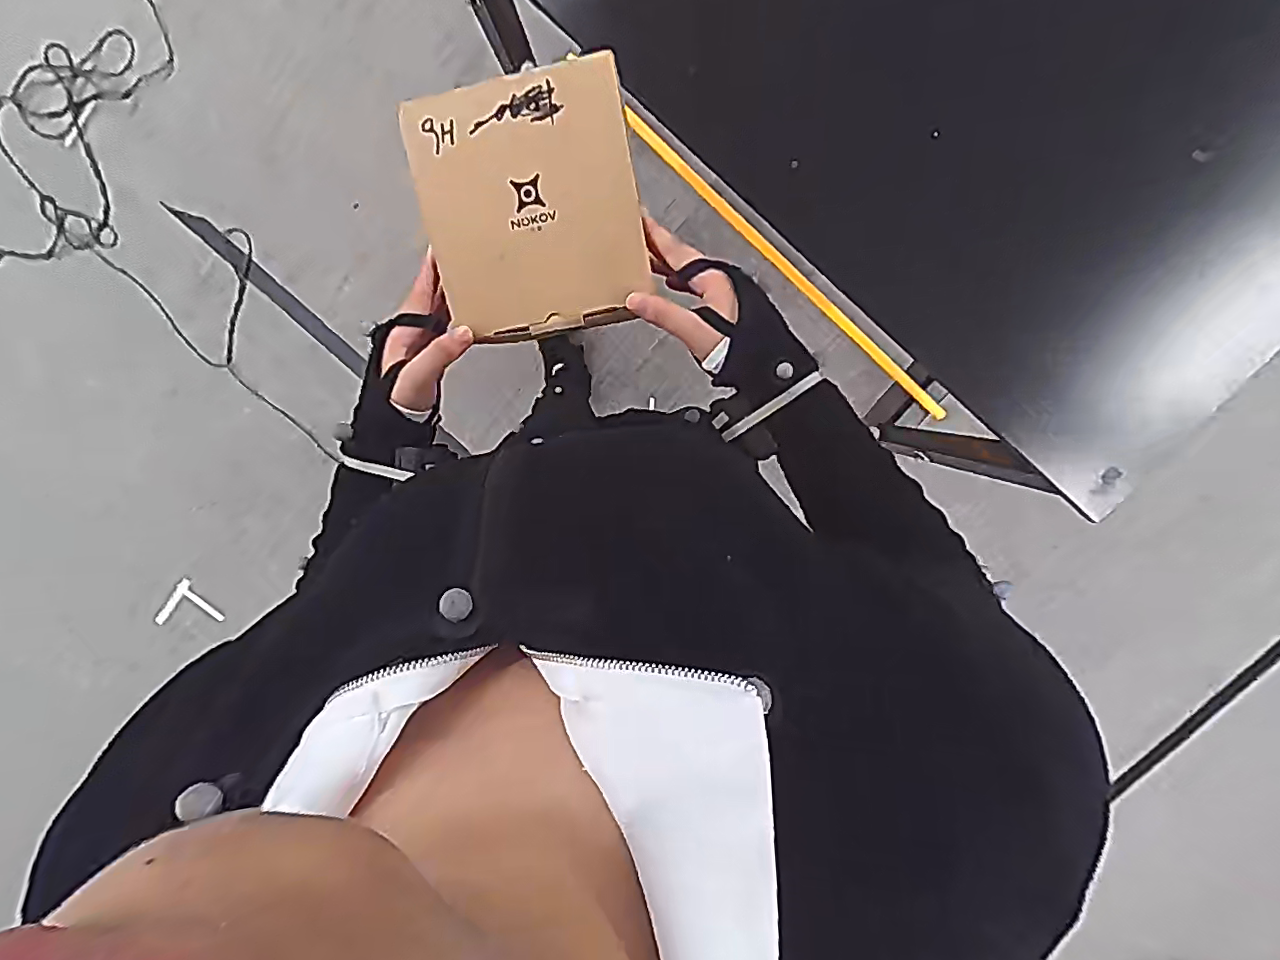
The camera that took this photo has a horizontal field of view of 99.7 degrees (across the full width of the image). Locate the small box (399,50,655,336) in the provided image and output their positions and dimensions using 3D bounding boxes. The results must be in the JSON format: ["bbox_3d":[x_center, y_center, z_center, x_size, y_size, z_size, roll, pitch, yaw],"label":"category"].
[{"bbox_3d":[-0.081,-0.237,0.494,0.168,0.176,0.179,-10,105,6],"label":"small box"}]
